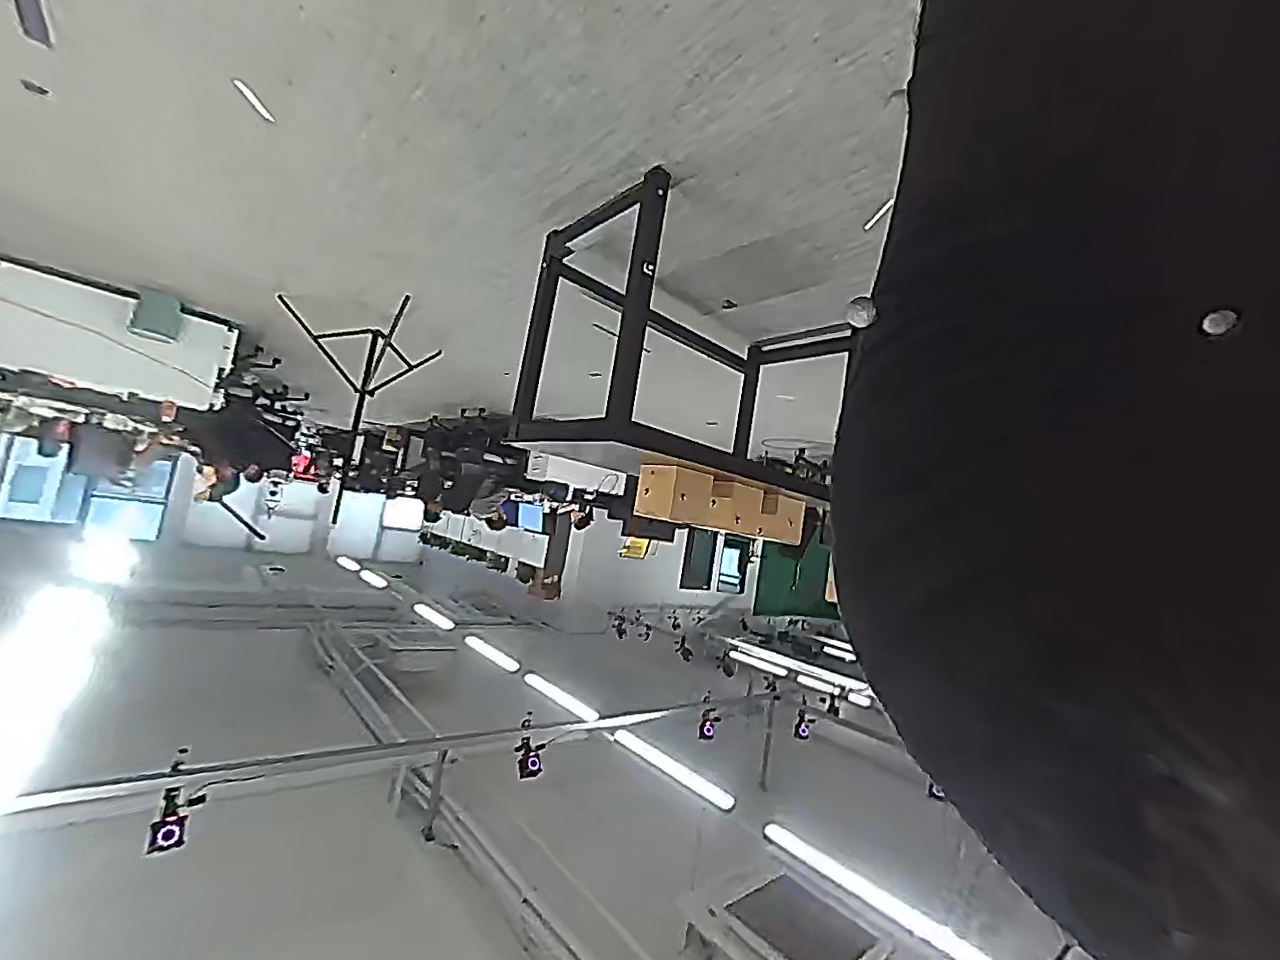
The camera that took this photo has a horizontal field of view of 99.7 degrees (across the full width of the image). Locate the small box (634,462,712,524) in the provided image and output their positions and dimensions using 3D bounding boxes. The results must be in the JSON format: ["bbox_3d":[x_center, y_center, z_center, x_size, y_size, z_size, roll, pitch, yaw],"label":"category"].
[{"bbox_3d":[0.107,0.039,1.723,0.179,0.176,0.168,12,176,-41],"label":"small box"}]

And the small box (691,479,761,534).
[{"bbox_3d":[0.306,0.090,1.905,0.179,0.176,0.168,14,174,-42],"label":"small box"}]

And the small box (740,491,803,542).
[{"bbox_3d":[0.508,0.138,2.082,0.179,0.176,0.168,13,174,-39],"label":"small box"}]
